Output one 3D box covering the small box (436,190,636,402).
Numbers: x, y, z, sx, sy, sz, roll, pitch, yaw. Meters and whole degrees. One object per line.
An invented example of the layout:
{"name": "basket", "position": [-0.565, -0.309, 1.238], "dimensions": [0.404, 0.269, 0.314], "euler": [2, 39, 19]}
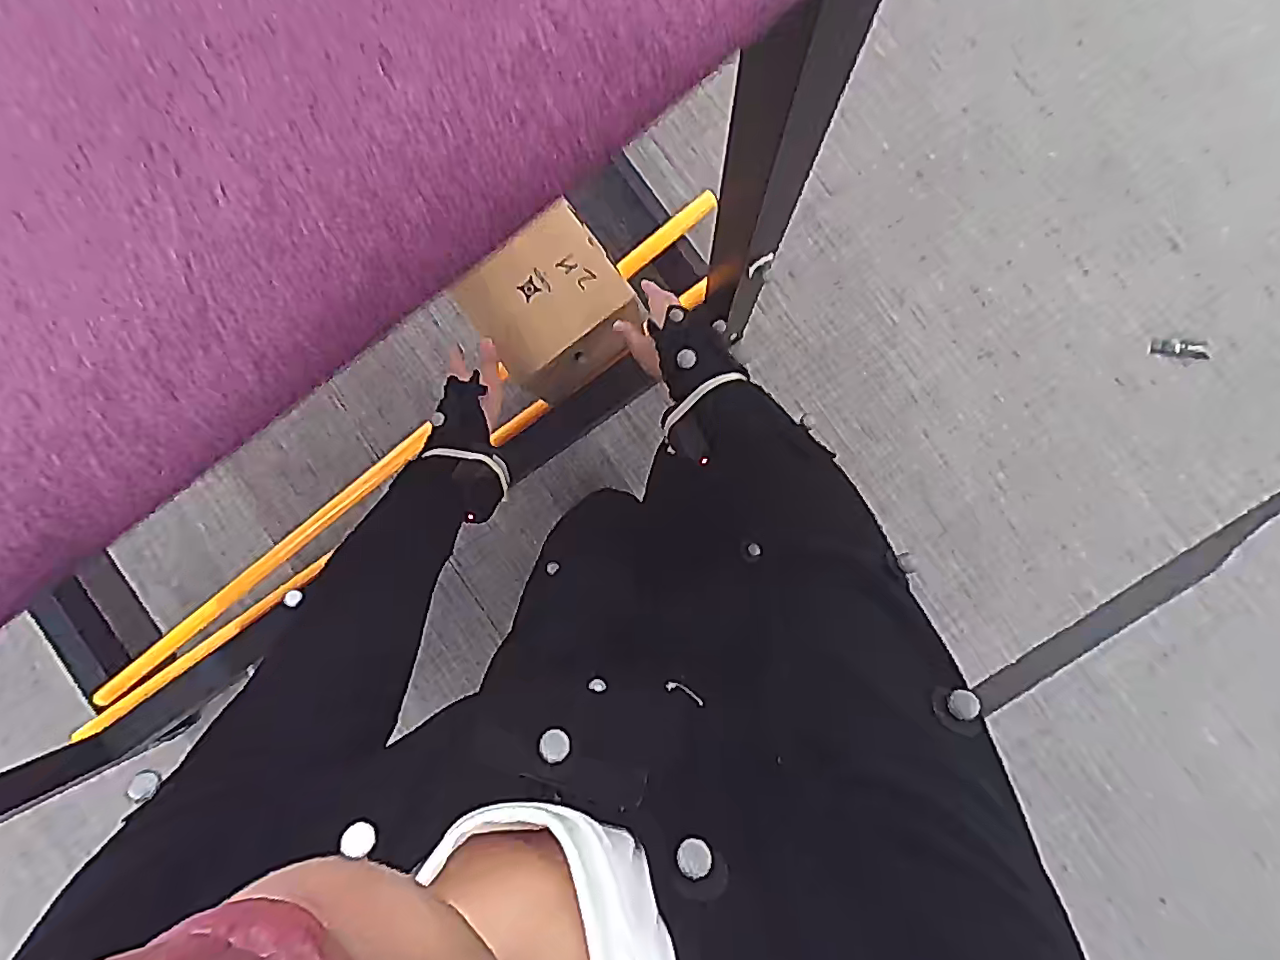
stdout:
{"name": "small box", "position": [-0.120, -0.222, 0.706], "dimensions": [0.179, 0.176, 0.168], "euler": [-37, 88, 3]}
